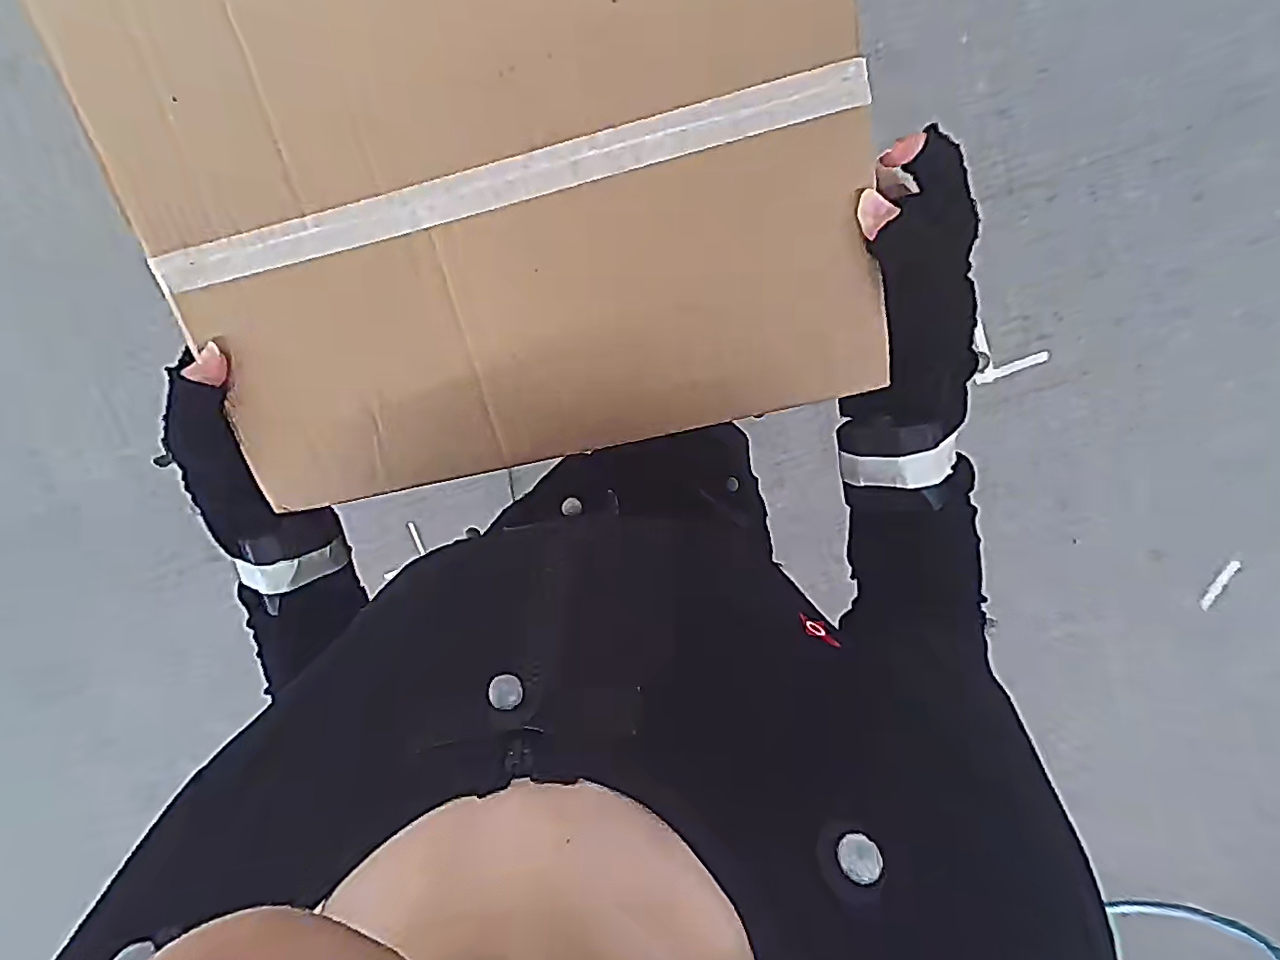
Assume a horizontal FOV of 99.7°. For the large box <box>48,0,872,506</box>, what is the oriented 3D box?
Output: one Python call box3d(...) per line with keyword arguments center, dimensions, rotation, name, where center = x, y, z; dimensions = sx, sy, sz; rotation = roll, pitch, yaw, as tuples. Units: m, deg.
box3d(center=(-0.076, -0.214, 0.444), dimensions=(0.408, 0.320, 0.320), rotation=(-12, 109, 7), name="large box")
